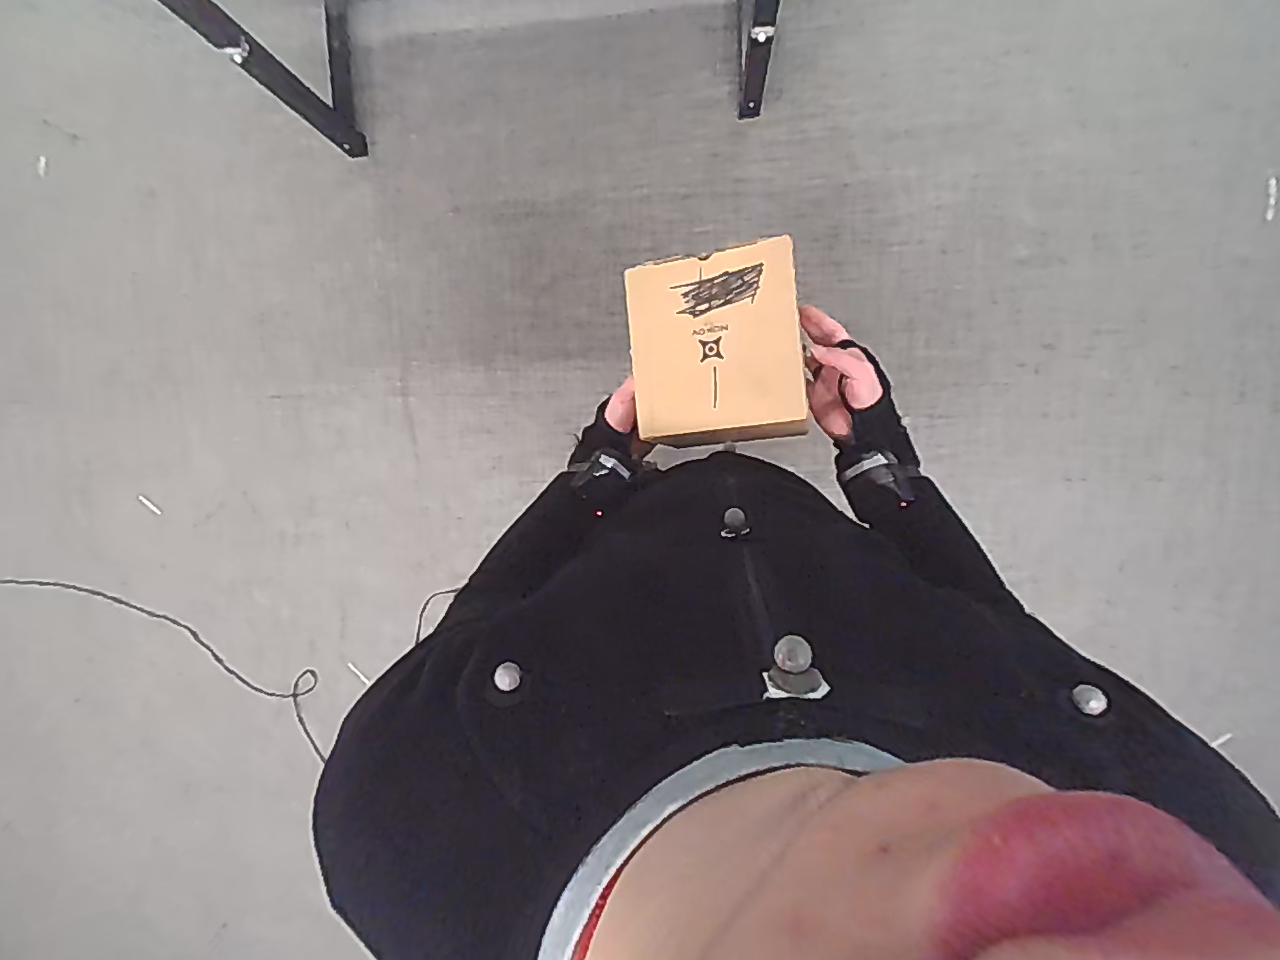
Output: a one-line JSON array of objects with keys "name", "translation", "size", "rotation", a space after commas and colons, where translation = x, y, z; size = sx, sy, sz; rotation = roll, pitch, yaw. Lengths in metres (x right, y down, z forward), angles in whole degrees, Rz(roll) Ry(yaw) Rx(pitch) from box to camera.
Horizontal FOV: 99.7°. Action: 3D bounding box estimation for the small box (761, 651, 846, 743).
[{"name": "small box", "translation": [0.448, 0.595, 1.502], "size": [0.179, 0.176, 0.168], "rotation": [11, 93, 5]}]
